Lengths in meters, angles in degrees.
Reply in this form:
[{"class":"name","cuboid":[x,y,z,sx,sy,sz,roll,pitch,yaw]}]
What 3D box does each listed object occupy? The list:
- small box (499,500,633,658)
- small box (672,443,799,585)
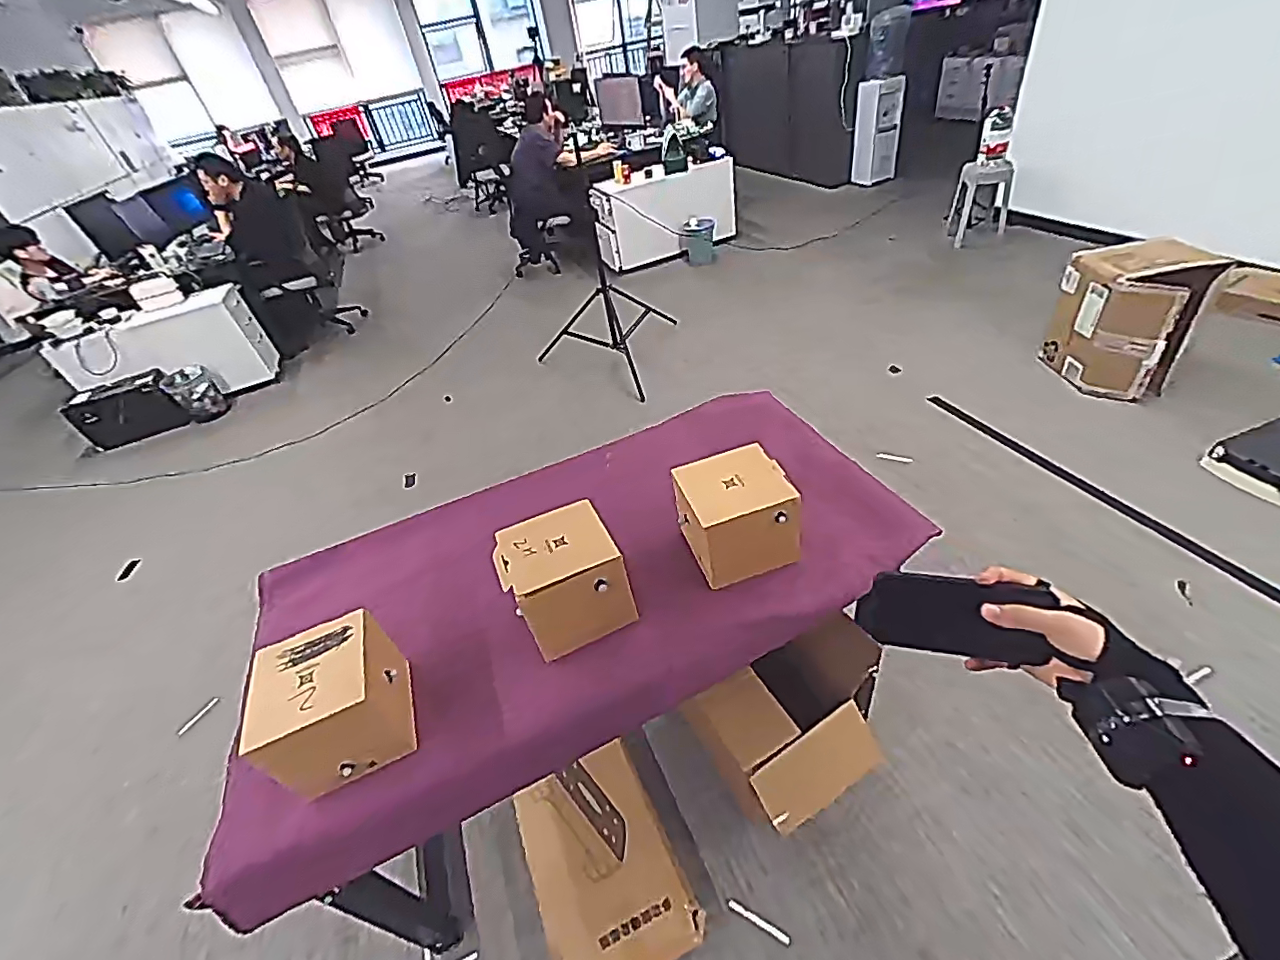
[{"class":"small box","cuboid":[-0.122,0.170,0.935,0.179,0.176,0.168,-23,39,-12]},{"class":"small box","cuboid":[0.174,0.064,0.986,0.179,0.176,0.168,-18,40,-7]}]
